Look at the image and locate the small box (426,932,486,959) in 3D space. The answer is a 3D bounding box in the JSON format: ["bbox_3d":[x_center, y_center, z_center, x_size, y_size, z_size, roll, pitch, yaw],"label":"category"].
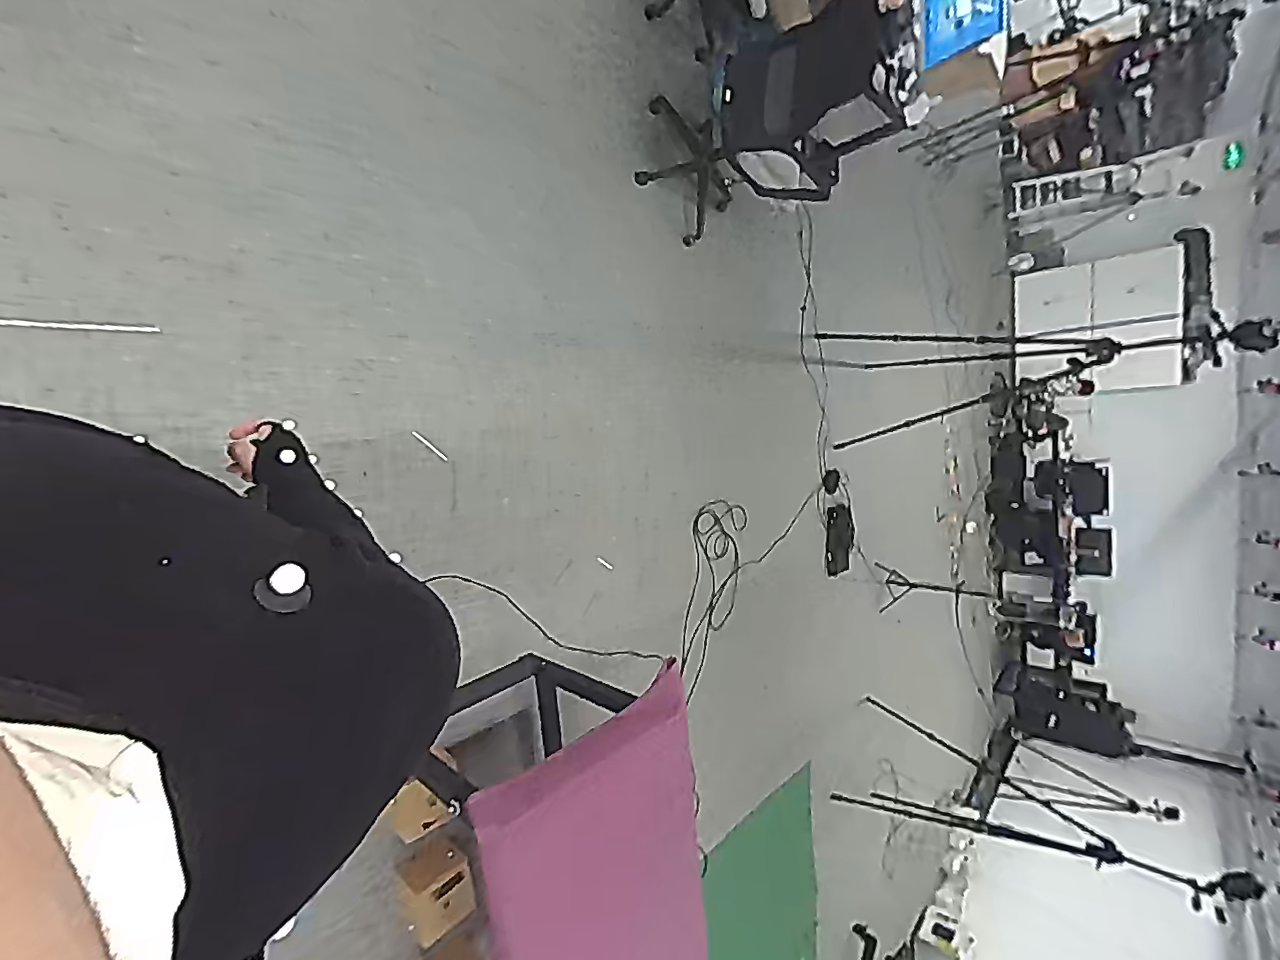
[{"bbox_3d":[-0.592,1.602,1.704,0.179,0.176,0.168,-15,102,-46],"label":"small box"}]

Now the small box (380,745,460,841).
[{"bbox_3d":[-0.664,0.923,1.622,0.168,0.176,0.179,-7,95,-46],"label":"small box"}]
